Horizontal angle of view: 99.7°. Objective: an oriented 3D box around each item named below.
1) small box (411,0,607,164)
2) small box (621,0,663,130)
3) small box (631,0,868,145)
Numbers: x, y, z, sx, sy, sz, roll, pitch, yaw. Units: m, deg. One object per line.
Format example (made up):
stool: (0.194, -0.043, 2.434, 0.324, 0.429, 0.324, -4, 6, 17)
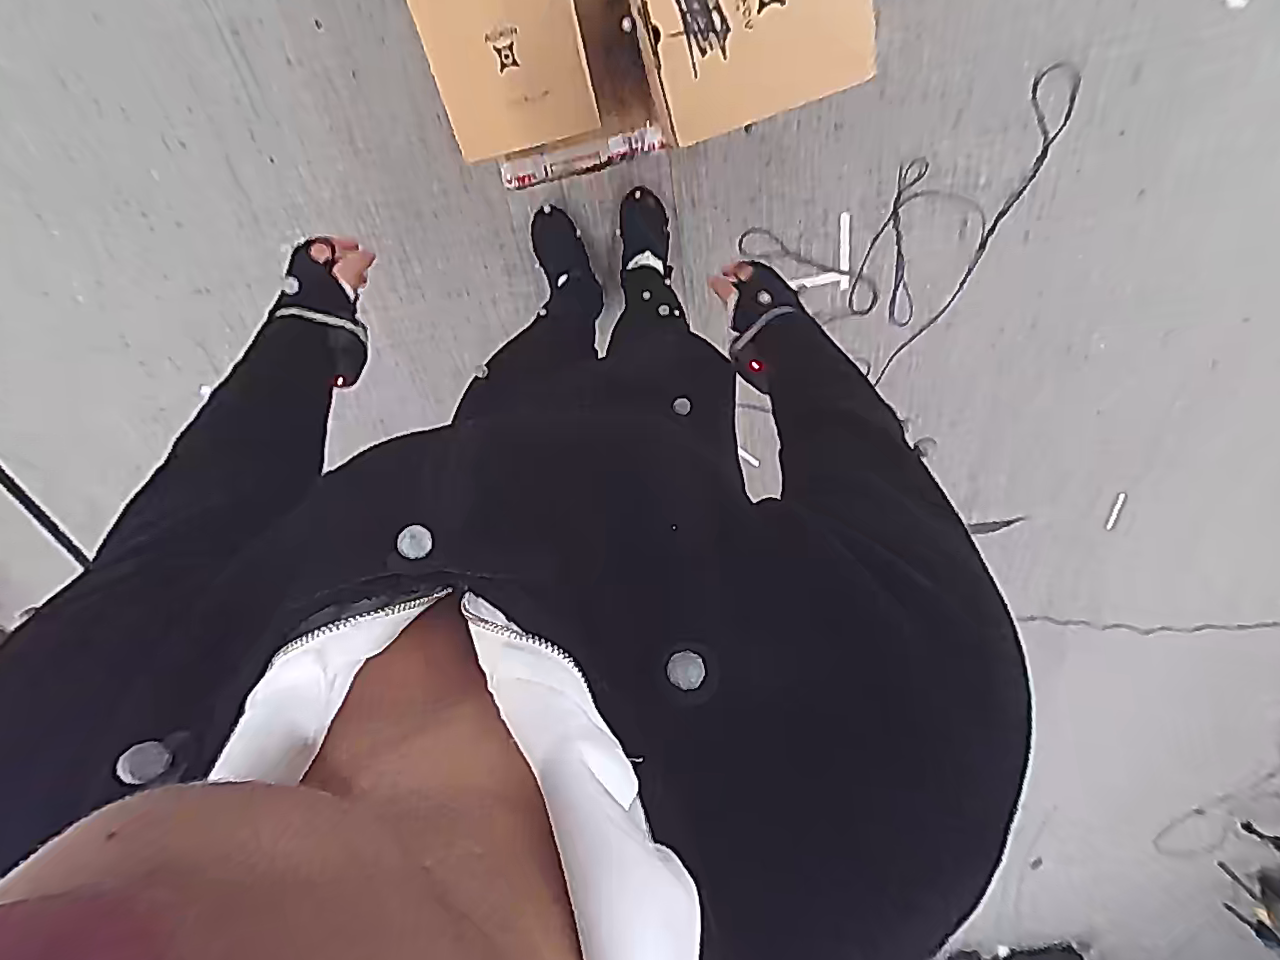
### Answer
small box: (-0.140, -0.500, 0.638, 0.168, 0.176, 0.179, -10, 127, 8)
small box: (0.079, -0.530, 0.624, 0.179, 0.176, 0.168, -16, 125, 7)
small box: (0.086, -0.429, 0.494, 0.179, 0.176, 0.168, -16, 126, 8)
